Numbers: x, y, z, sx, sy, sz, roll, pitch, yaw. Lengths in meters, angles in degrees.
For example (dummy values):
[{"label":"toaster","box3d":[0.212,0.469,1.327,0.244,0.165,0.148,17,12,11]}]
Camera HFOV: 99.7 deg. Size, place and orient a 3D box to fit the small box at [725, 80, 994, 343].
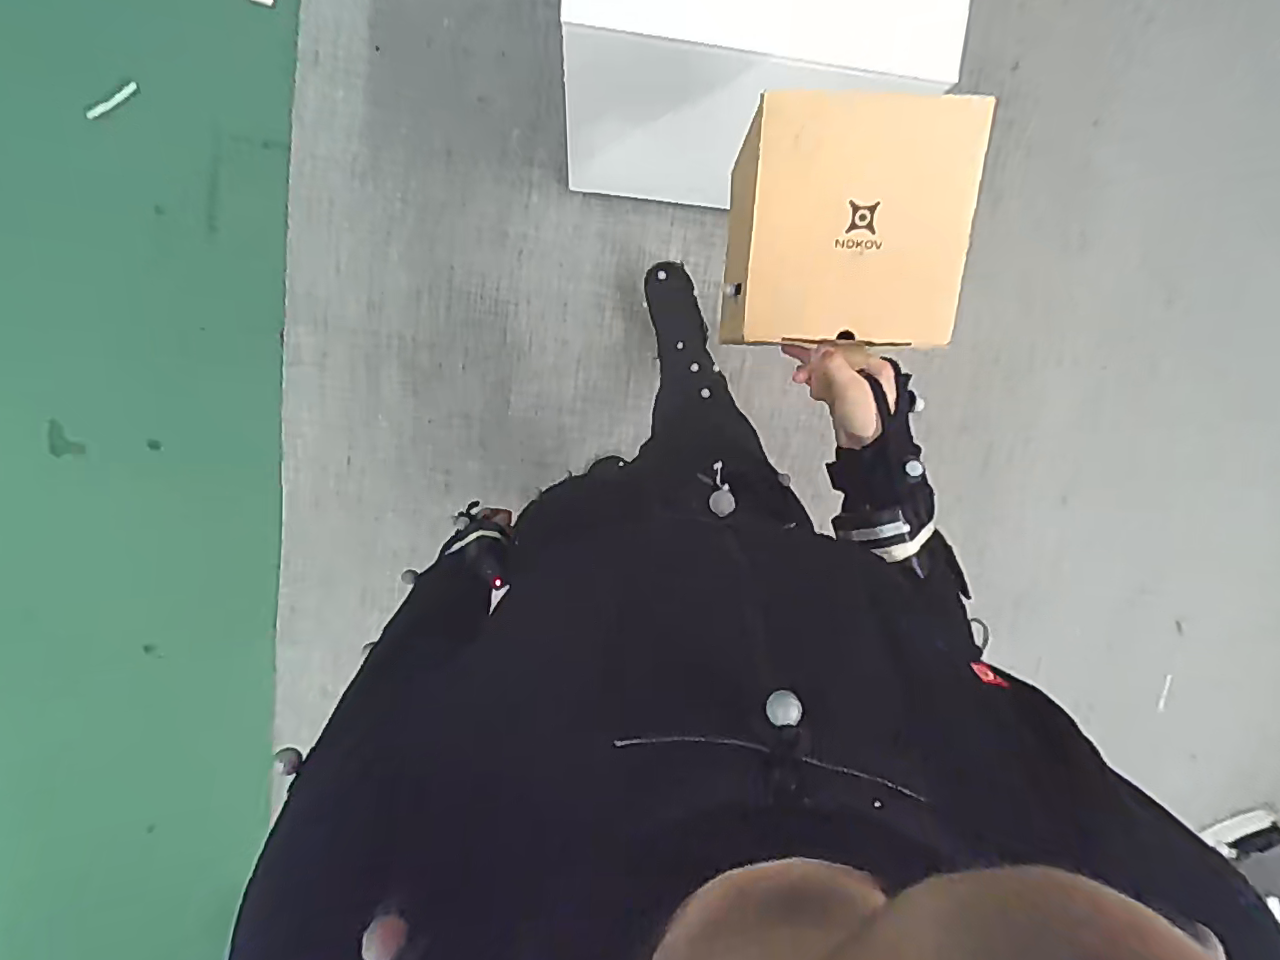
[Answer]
[{"label":"small box","box3d":[0.171,-0.217,0.483,0.168,0.176,0.179,3,104,2]}]
